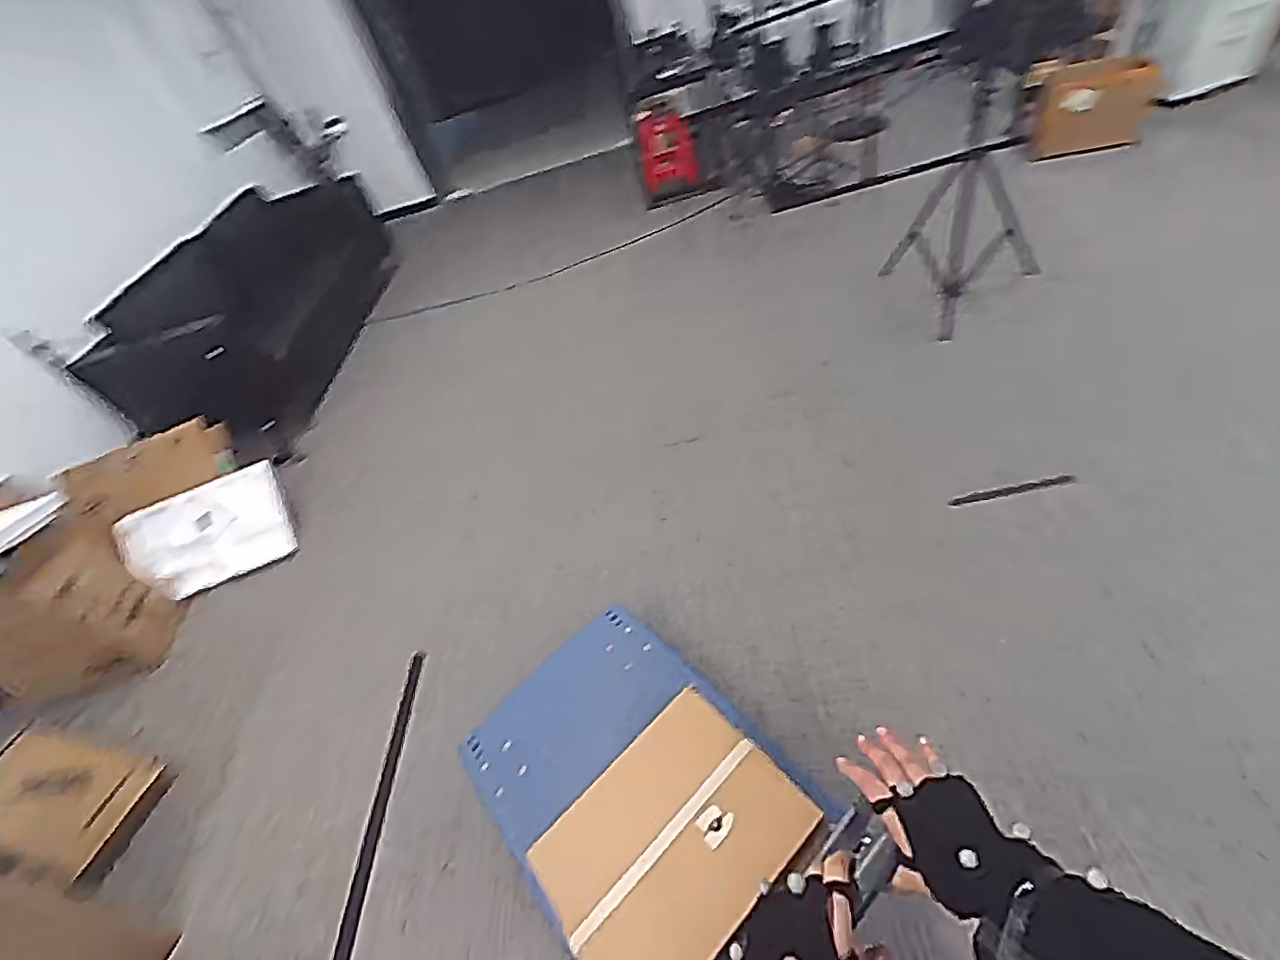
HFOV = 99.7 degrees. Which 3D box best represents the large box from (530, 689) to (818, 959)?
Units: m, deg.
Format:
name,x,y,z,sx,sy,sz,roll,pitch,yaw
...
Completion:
name,x,y,z,sx,sy,sz,roll,pitch,yaw
large box,0.082,0.692,0.998,0.408,0.320,0.320,-40,48,-20
